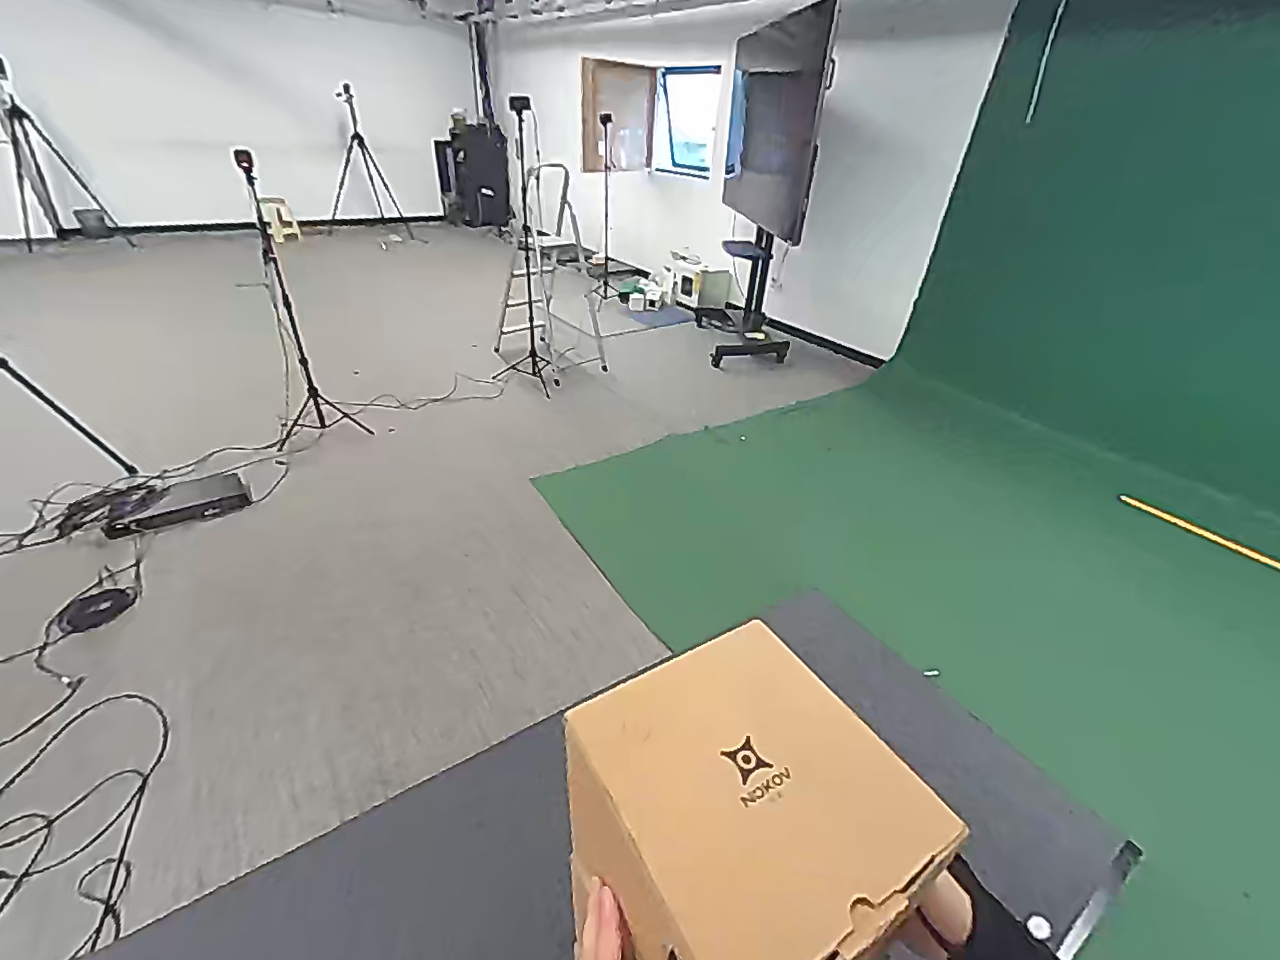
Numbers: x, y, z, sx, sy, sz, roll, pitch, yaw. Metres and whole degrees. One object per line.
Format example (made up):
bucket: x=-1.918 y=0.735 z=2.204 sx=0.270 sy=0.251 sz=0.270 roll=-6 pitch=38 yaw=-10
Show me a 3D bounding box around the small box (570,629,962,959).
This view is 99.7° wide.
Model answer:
small box: x=0.061 y=0.242 z=0.364 sx=0.168 sy=0.176 sz=0.179 roll=-16 pitch=38 yaw=-27
